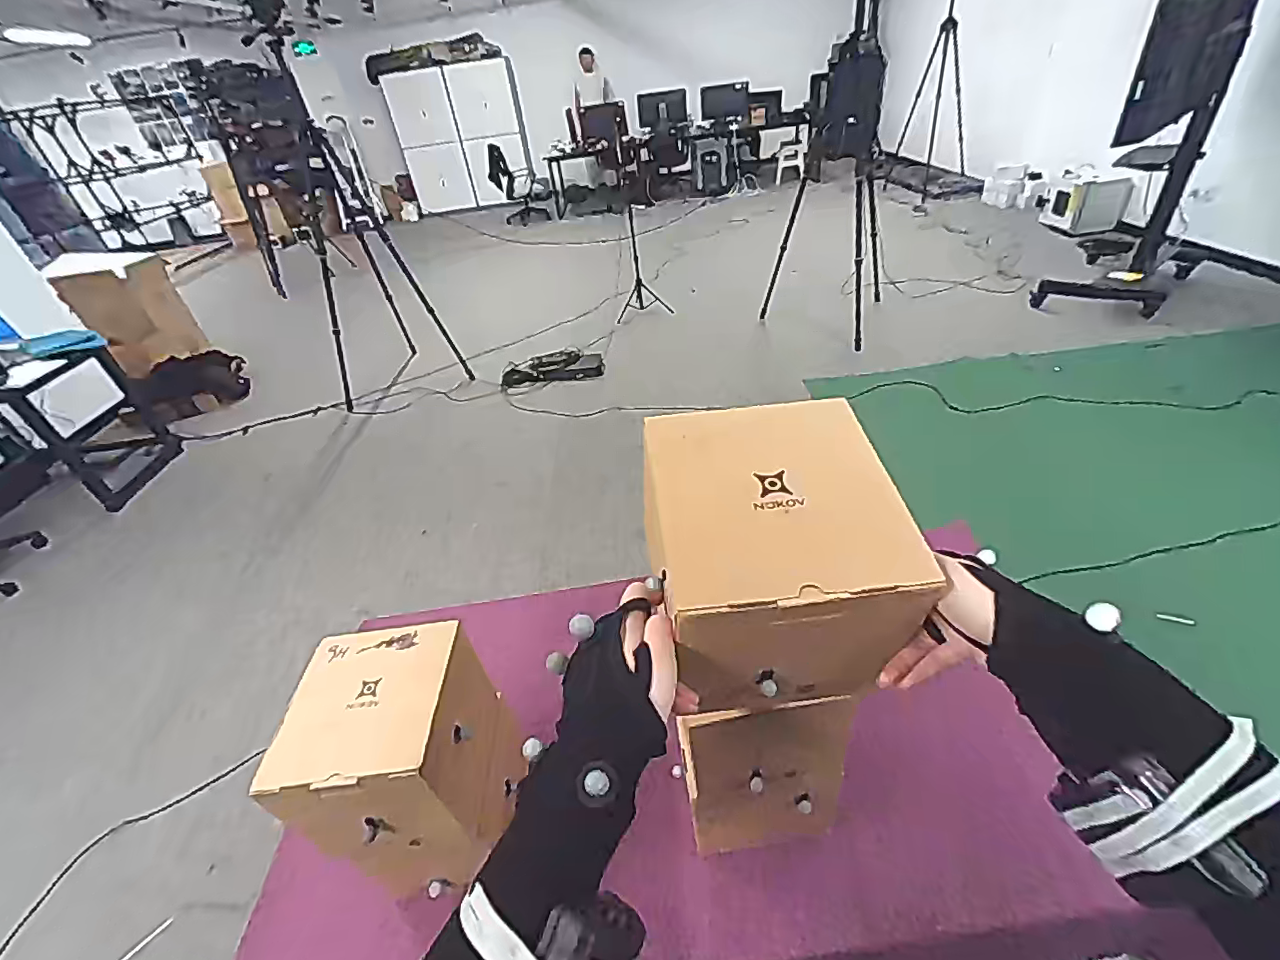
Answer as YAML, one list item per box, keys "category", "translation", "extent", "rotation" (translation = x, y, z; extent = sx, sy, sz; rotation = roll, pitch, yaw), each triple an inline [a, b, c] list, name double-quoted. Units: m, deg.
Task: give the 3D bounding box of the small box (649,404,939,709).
- category: "small box"
  translation: [0.097, 0.062, 0.441]
  extent: [0.168, 0.176, 0.179]
  rotation: [-6, 49, -3]

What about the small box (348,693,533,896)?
- category: "small box"
  translation: [-0.247, 0.417, 0.722]
  extent: [0.168, 0.176, 0.179]
  rotation: [-8, 38, 2]

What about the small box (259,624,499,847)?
- category: "small box"
  translation: [-0.271, 0.293, 0.616]
  extent: [0.168, 0.176, 0.179]
  rotation: [-7, 38, 2]

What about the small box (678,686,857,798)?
- category: "small box"
  translation: [0.125, 0.226, 0.618]
  extent: [0.168, 0.176, 0.179]
  rotation: [-10, 38, 0]

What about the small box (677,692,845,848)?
- category: "small box"
  translation: [0.148, 0.356, 0.715]
  extent: [0.179, 0.176, 0.168]
  rotation: [-10, 37, 0]
